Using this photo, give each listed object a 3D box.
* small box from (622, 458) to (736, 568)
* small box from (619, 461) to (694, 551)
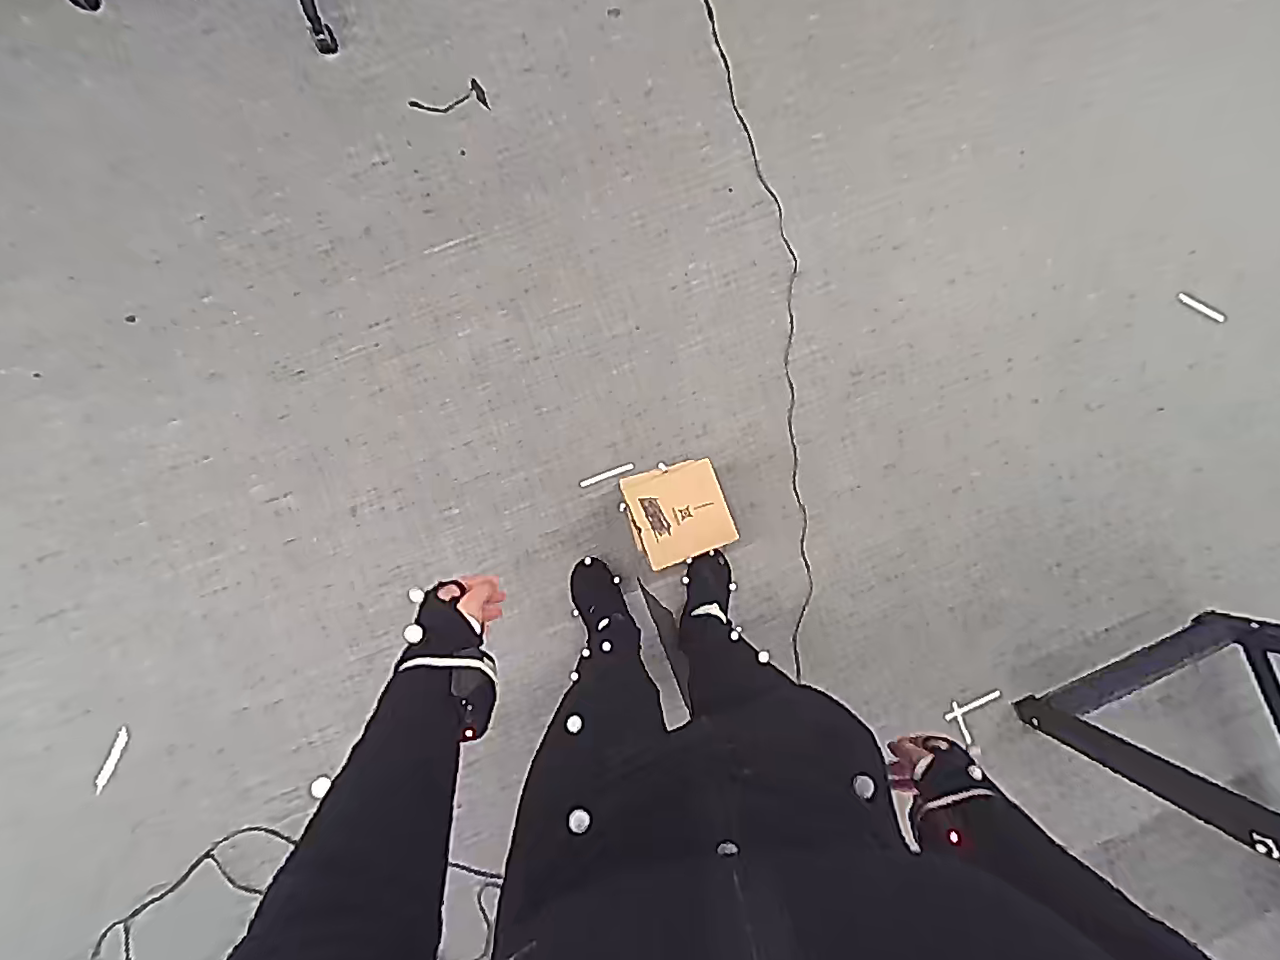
[{"bbox_3d":[0.072,0.065,1.092,0.179,0.176,0.168,-21,90,-3],"label":"small box"},{"bbox_3d":[0.055,0.057,1.258,0.179,0.176,0.168,-15,89,-4],"label":"small box"}]
